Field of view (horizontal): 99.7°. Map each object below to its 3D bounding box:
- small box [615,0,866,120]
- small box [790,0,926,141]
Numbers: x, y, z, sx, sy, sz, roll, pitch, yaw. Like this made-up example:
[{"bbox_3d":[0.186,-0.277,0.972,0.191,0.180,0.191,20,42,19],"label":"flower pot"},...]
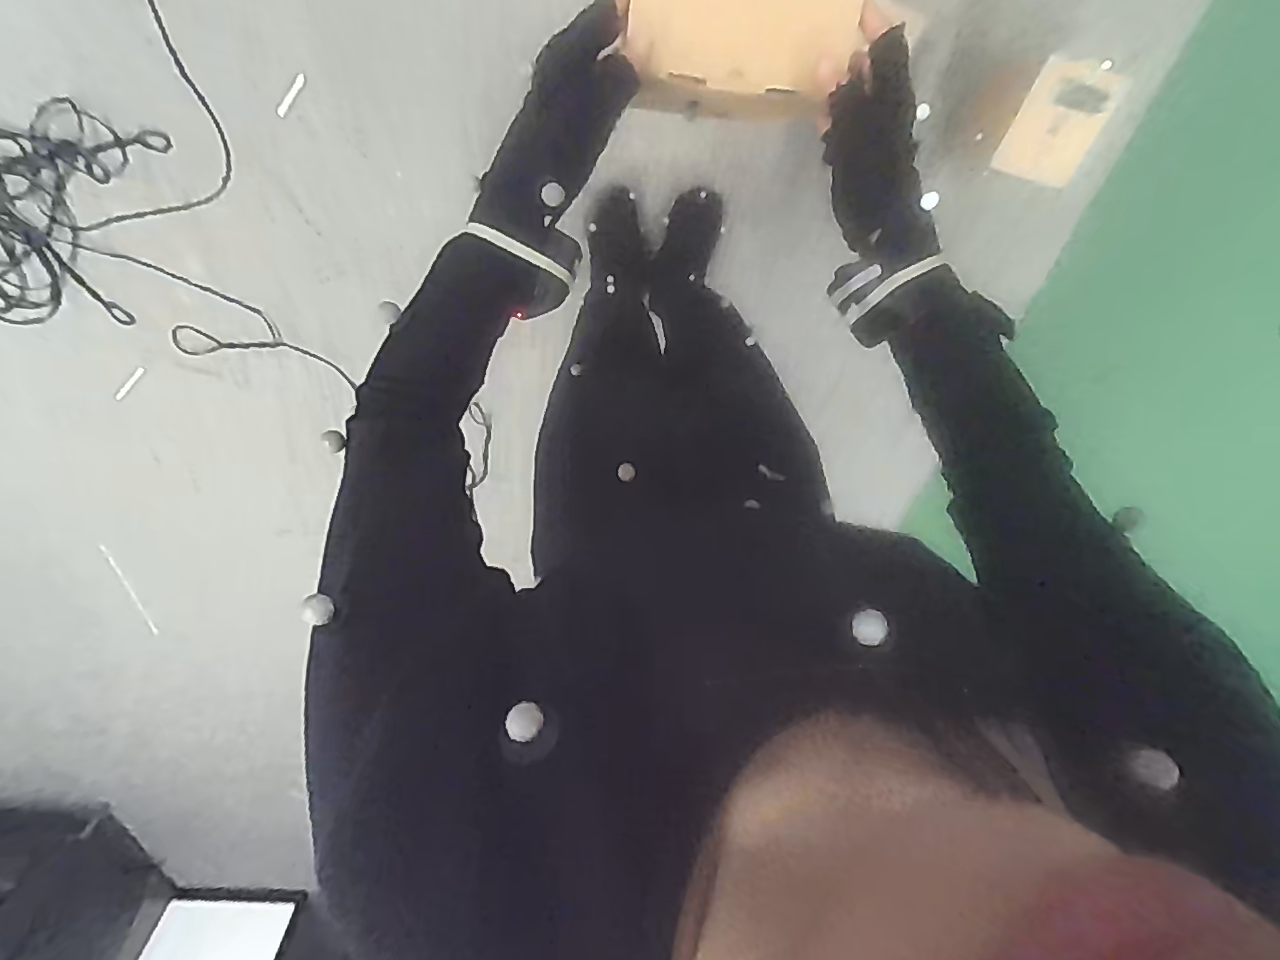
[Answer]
[{"bbox_3d":[0.070,-0.398,0.416,0.168,0.176,0.179,3,119,-7],"label":"small box"},{"bbox_3d":[0.356,-0.732,0.960,0.168,0.176,0.179,13,124,-10],"label":"small box"}]
